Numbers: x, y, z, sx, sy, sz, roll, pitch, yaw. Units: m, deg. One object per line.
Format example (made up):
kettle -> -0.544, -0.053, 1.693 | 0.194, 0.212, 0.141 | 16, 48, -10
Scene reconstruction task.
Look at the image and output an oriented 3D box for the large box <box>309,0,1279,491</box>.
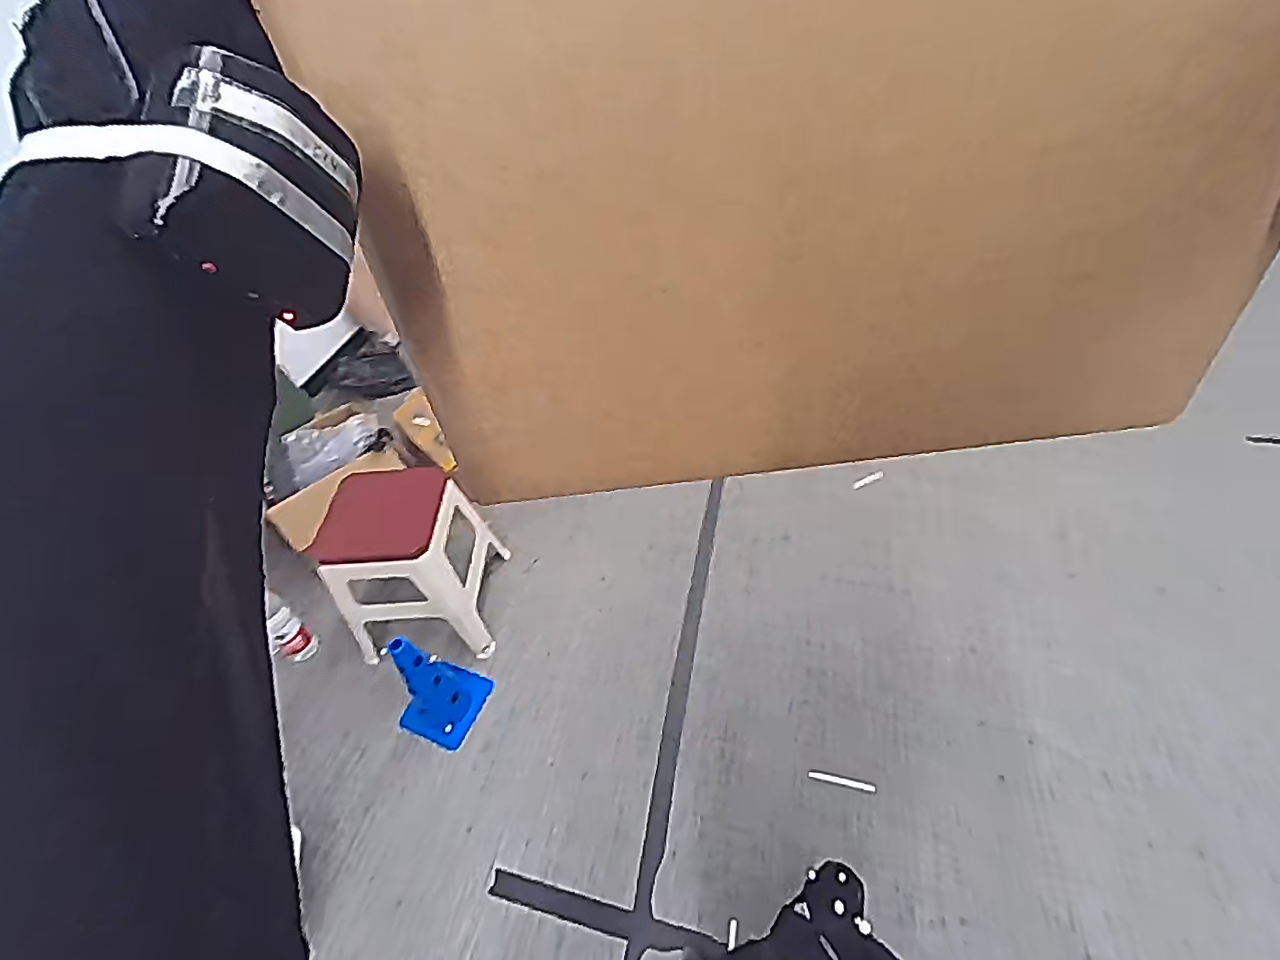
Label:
large box -> 0.079, -0.221, 0.347 | 0.408, 0.320, 0.320 | -6, 39, 3
